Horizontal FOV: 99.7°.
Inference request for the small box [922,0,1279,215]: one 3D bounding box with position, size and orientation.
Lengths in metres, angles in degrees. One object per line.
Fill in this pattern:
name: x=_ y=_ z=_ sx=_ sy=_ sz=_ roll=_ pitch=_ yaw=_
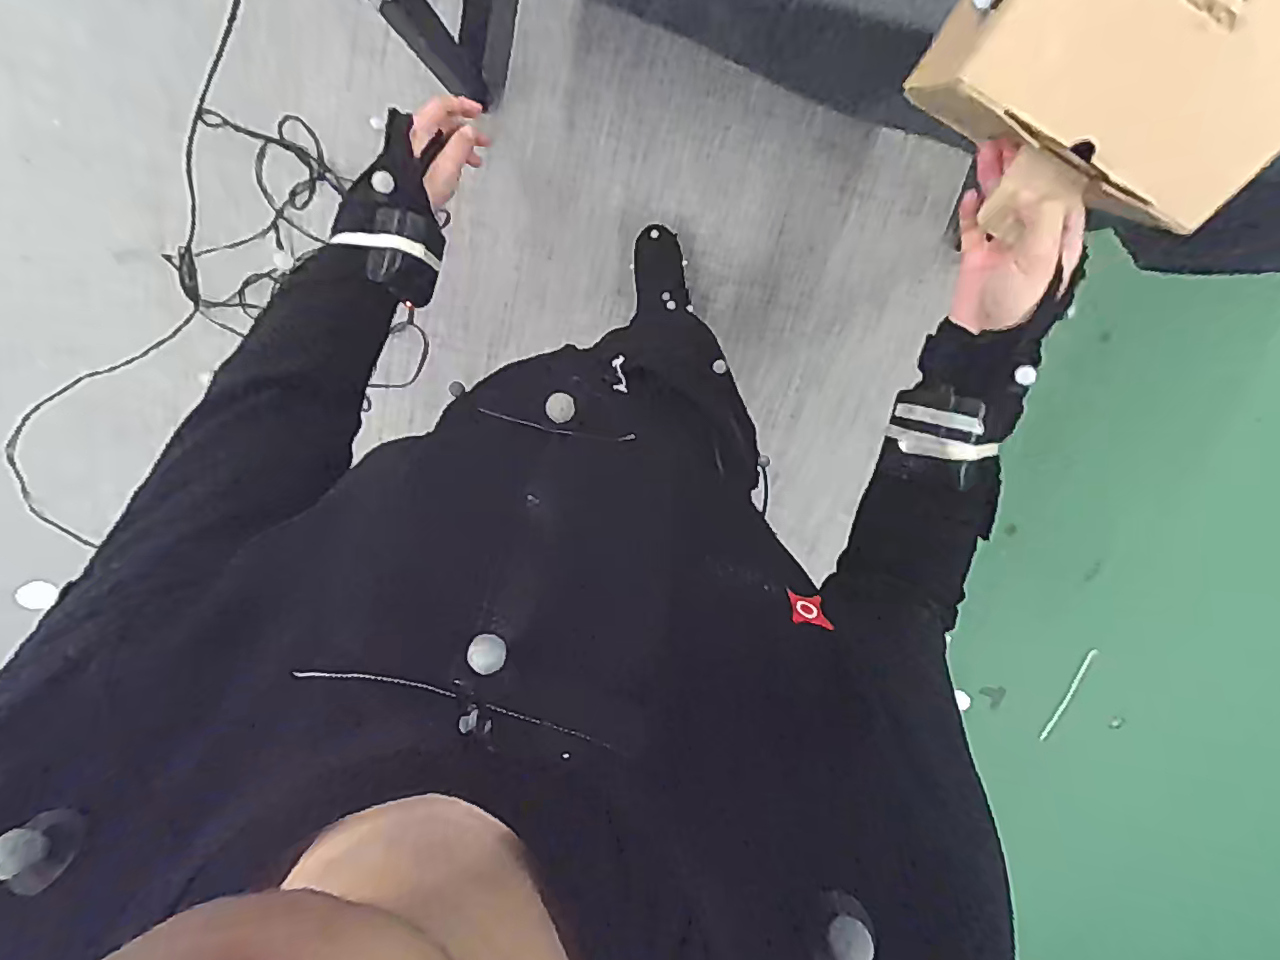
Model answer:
small box: x=0.298 y=-0.289 z=0.310 sx=0.168 sy=0.176 sz=0.179 roll=27 pitch=126 yaw=-6
